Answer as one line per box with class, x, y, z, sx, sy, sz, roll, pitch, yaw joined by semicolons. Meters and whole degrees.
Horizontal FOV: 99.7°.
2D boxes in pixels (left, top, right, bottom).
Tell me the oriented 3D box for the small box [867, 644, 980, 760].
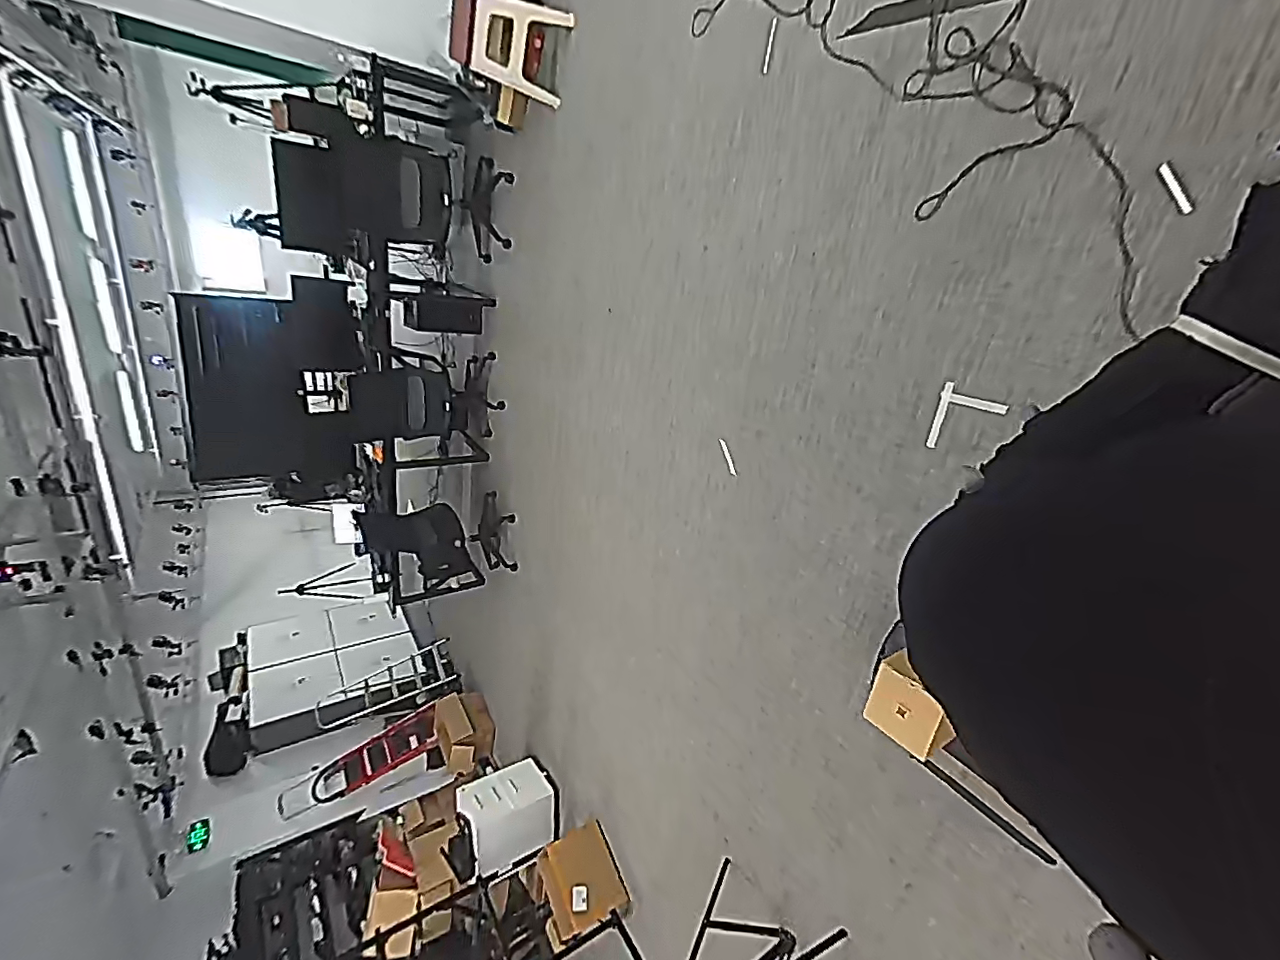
small box;0.697;0.537;1.329;0.168;0.176;0.179;32;121;48
